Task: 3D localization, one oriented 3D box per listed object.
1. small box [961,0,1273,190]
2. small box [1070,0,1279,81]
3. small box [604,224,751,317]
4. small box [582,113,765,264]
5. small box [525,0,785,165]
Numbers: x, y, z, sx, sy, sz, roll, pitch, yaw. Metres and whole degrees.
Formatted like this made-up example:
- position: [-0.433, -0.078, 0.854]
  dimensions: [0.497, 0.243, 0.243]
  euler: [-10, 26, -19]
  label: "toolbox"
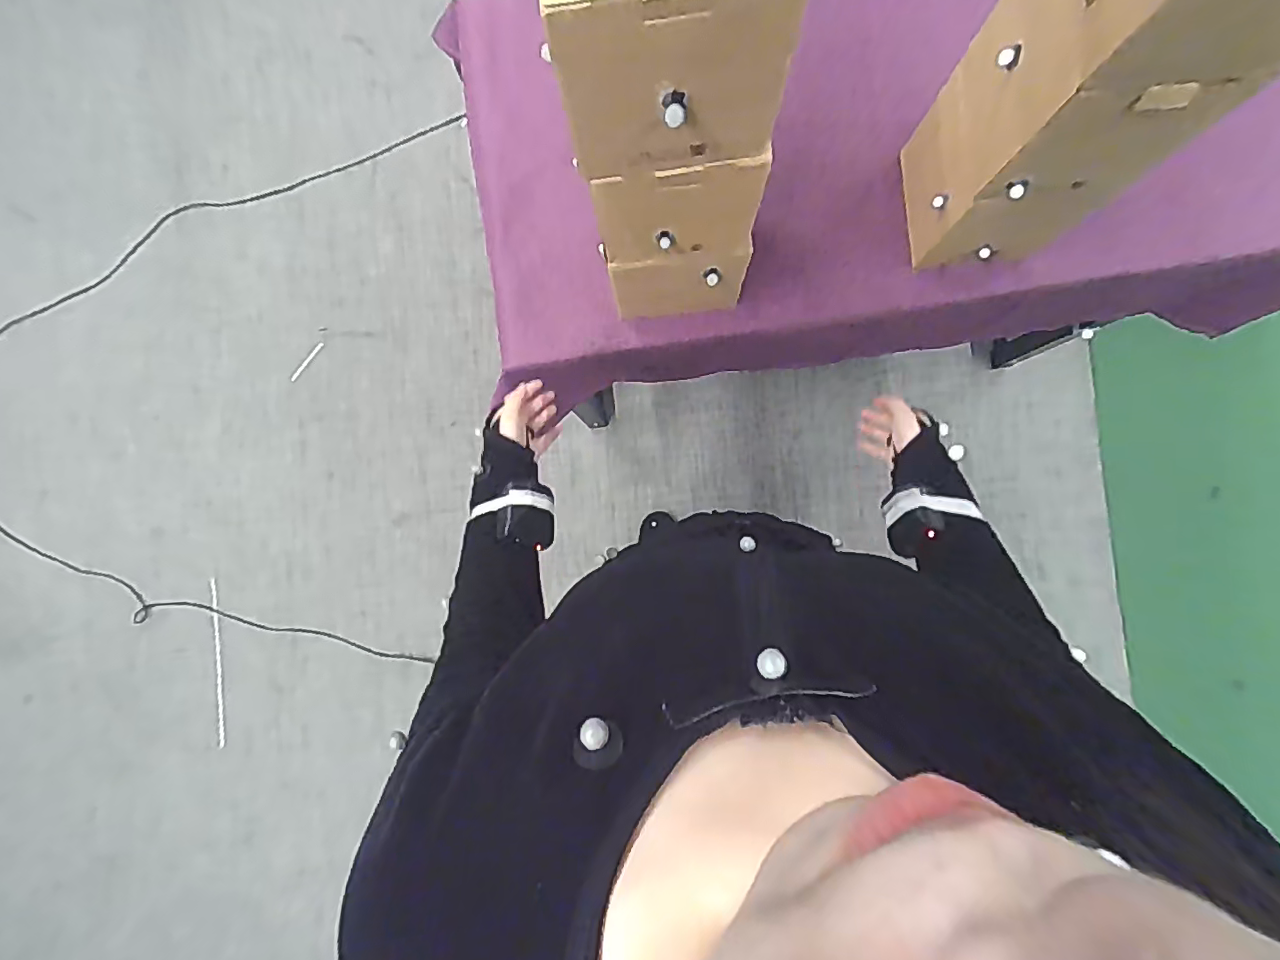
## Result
- position: [0.448, -0.414, 0.538]
  dimensions: [0.168, 0.176, 0.179]
  euler: [-3, 86, 4]
  label: "small box"
- position: [0.439, -0.417, 0.375]
  dimensions: [0.179, 0.176, 0.168]
  euler: [-1, 88, 4]
  label: "small box"
- position: [0.043, -0.335, 0.727]
  dimensions: [0.179, 0.176, 0.168]
  euler: [-6, 85, 4]
  label: "small box"
- position: [0.028, -0.353, 0.566]
  dimensions: [0.168, 0.176, 0.179]
  euler: [-5, 87, 3]
  label: "small box"
- position: [0.009, -0.365, 0.403]
  dimensions: [0.168, 0.176, 0.179]
  euler: [-7, 87, 3]
  label: "small box"
